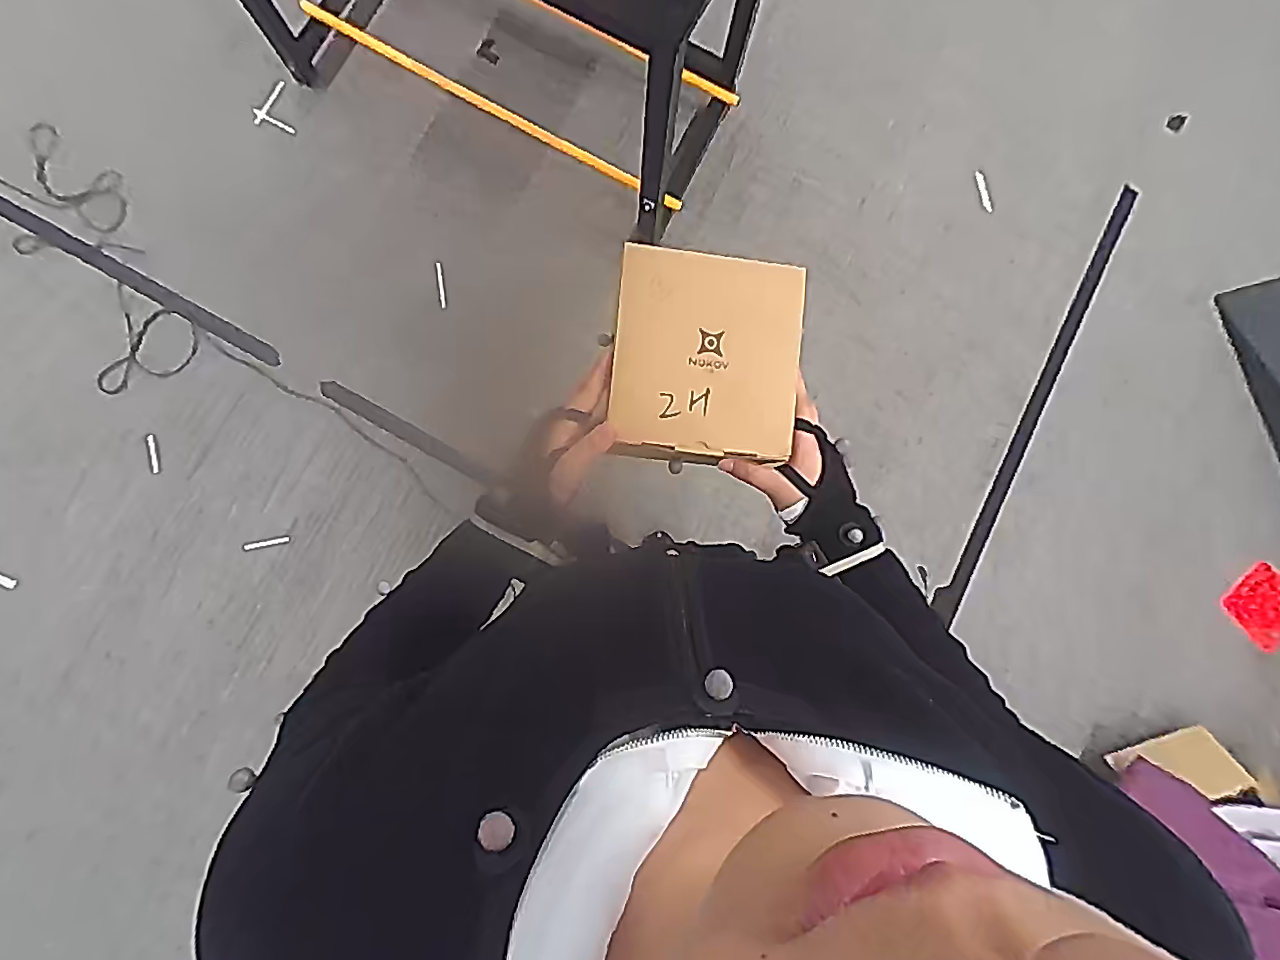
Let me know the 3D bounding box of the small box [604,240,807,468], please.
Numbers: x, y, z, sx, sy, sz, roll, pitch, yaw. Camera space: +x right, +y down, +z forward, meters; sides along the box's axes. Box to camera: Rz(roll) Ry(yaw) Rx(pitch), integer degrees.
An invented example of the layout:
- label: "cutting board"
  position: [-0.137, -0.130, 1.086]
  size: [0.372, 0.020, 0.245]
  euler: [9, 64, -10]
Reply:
- label: "small box"
  position: [0.053, -0.111, 0.548]
  size: [0.168, 0.176, 0.179]
  euler: [5, 88, -5]
